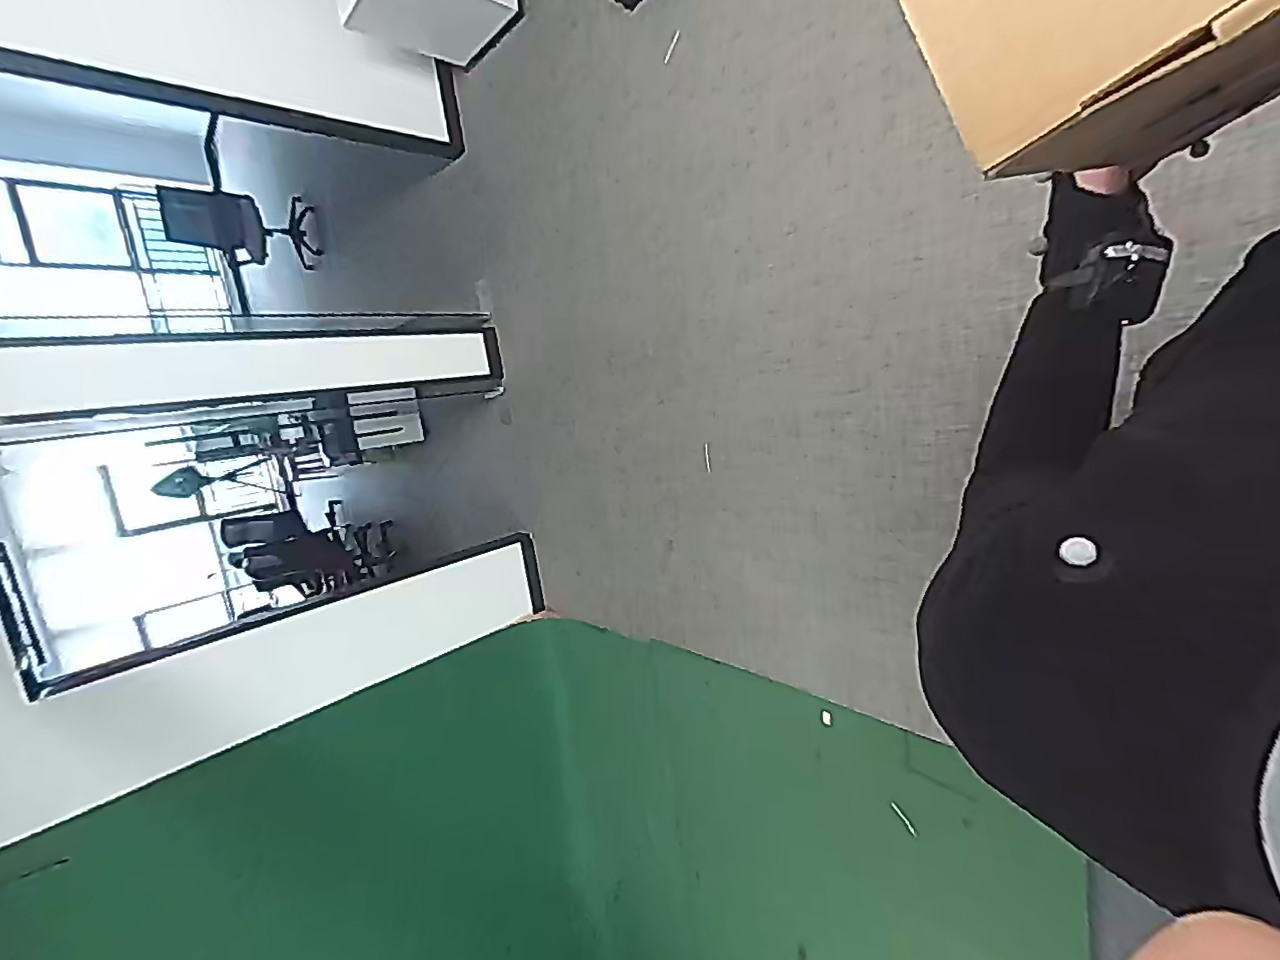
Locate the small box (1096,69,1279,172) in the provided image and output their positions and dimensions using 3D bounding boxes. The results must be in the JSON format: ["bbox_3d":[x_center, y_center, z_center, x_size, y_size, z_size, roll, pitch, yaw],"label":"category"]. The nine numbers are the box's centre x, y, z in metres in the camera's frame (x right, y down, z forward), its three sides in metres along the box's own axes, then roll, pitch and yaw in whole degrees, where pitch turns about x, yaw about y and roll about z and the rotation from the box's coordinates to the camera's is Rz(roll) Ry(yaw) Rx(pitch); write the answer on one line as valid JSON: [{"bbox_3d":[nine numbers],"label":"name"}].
[{"bbox_3d":[0.407,-0.355,0.381,0.168,0.176,0.179,-24,92,53],"label":"small box"}]

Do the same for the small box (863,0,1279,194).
[{"bbox_3d":[0.179,-0.233,0.183,0.168,0.176,0.179,-23,96,51],"label":"small box"}]

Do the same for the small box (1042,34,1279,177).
[{"bbox_3d":[0.294,-0.295,0.284,0.168,0.176,0.179,-24,93,52],"label":"small box"}]
